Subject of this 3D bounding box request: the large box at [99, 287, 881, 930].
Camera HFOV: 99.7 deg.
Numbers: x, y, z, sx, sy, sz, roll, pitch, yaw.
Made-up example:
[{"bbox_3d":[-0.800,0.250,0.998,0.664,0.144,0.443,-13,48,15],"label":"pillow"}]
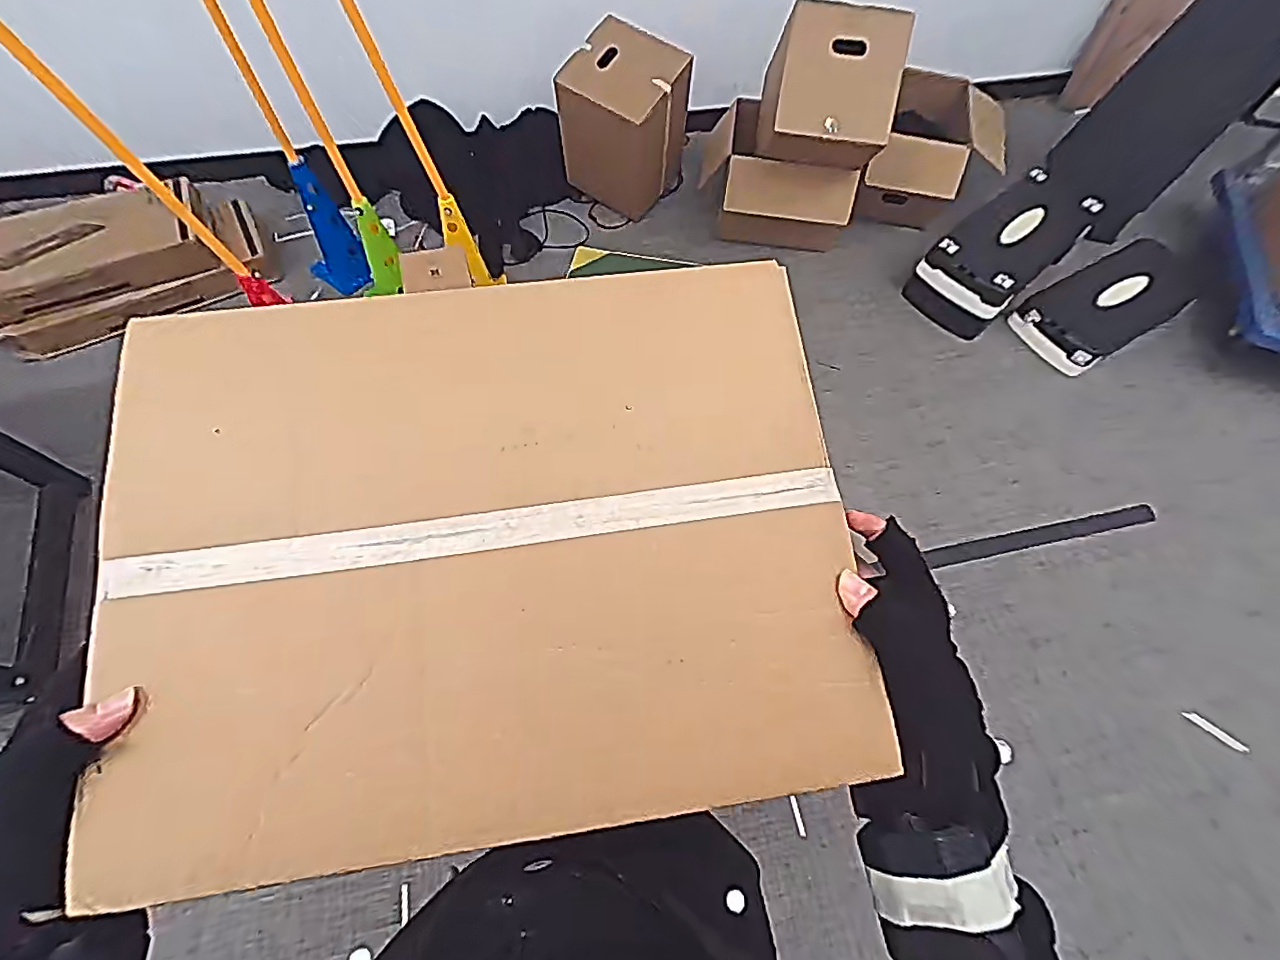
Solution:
[{"bbox_3d":[-0.091,0.079,0.454,0.408,0.320,0.320,-7,75,-4],"label":"large box"}]
